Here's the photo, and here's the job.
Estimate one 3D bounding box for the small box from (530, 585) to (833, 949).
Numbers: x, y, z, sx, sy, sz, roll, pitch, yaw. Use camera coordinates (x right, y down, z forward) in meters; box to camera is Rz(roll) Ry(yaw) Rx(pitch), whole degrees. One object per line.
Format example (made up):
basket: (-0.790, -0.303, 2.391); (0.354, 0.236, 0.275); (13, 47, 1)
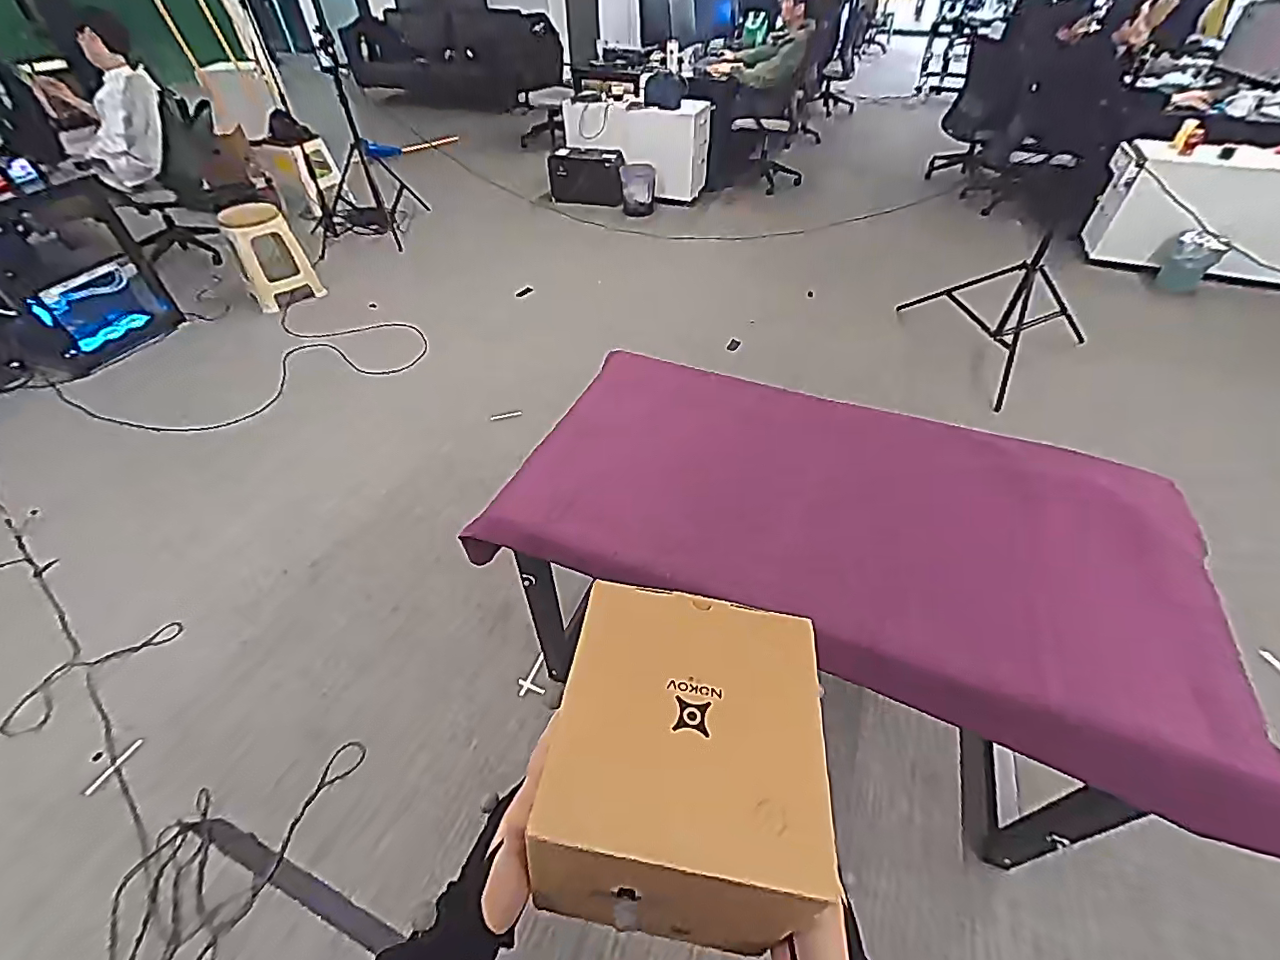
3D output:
small box: (0.027, 0.209, 0.399); (0.168, 0.176, 0.179); (10, 40, 3)
